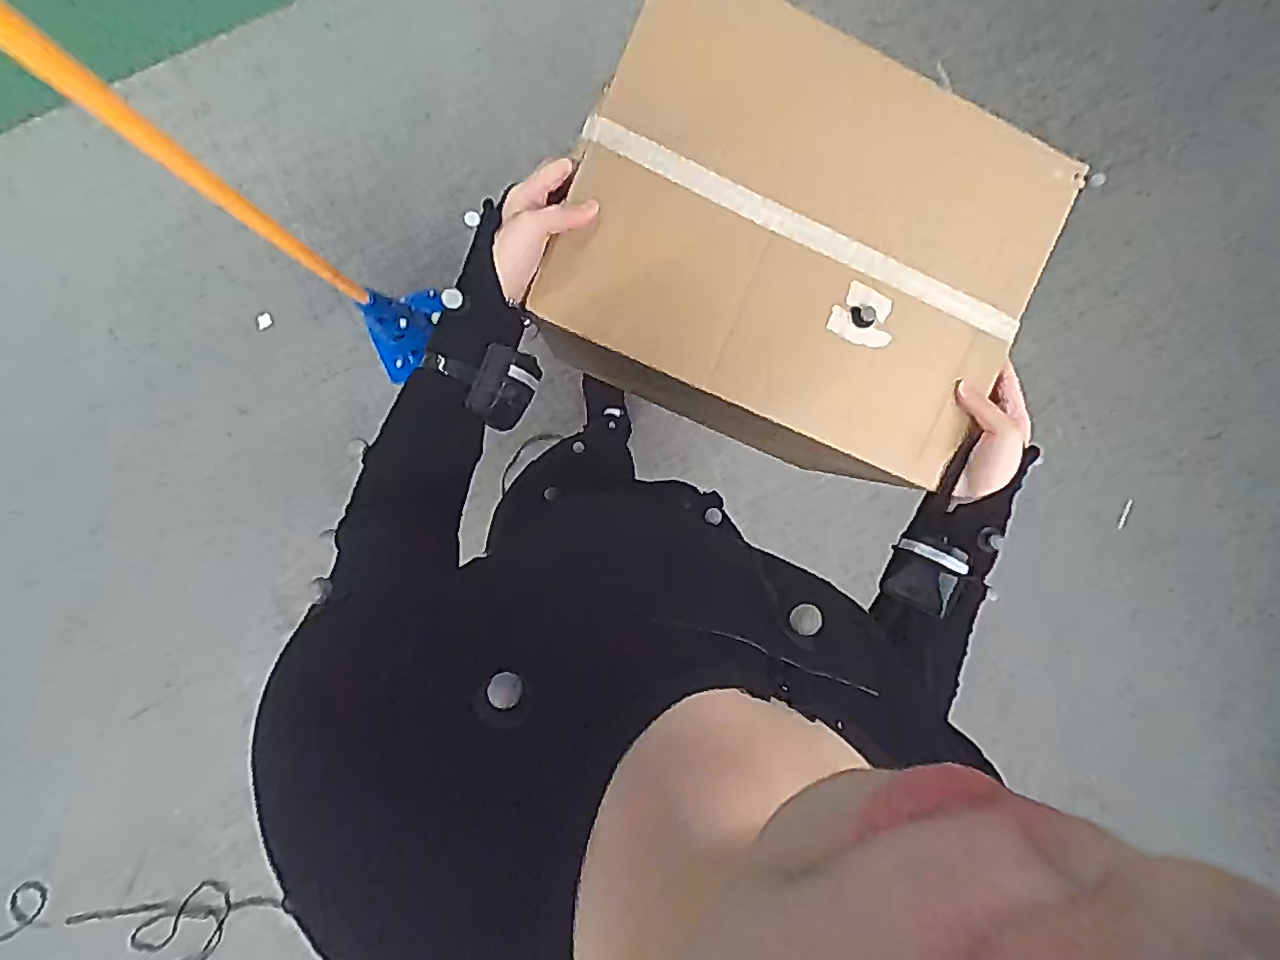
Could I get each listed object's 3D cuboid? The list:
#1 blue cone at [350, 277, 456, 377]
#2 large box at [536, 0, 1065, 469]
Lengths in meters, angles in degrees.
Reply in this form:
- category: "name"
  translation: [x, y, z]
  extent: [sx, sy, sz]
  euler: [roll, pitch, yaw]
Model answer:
- category: "blue cone"
  translation: [-0.563, -0.369, 1.224]
  extent: [0.193, 0.380, 0.192]
  euler: [-21, 94, -7]
- category: "large box"
  translation: [0.131, -0.232, 0.616]
  extent: [0.408, 0.320, 0.320]
  euler: [22, 93, -8]
